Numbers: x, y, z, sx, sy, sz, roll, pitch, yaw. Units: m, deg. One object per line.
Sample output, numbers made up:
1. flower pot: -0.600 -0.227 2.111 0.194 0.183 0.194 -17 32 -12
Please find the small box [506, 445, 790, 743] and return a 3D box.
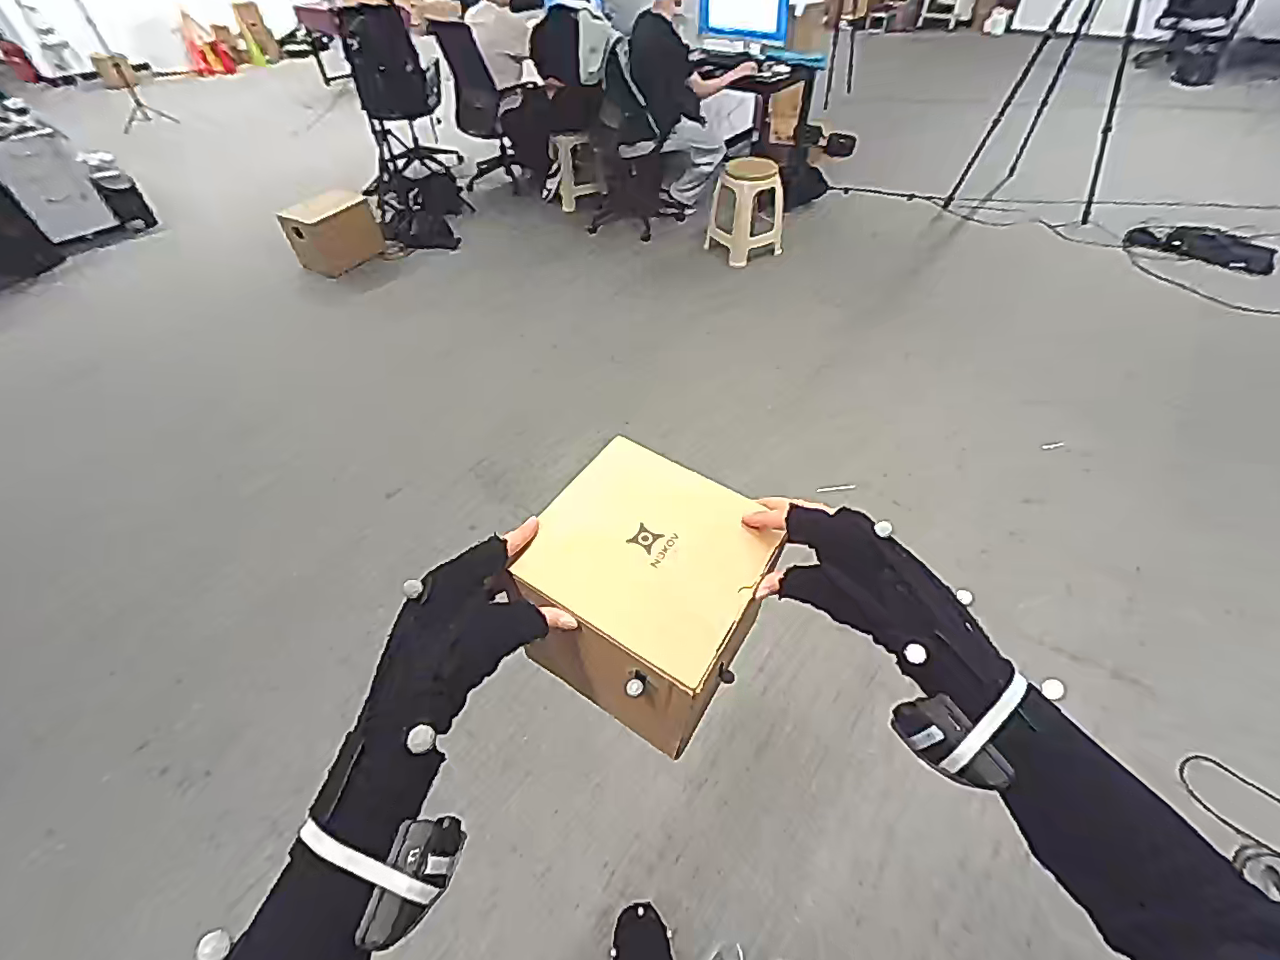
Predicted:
1. small box: 0.006 0.105 0.493 0.179 0.176 0.168 28 53 19
